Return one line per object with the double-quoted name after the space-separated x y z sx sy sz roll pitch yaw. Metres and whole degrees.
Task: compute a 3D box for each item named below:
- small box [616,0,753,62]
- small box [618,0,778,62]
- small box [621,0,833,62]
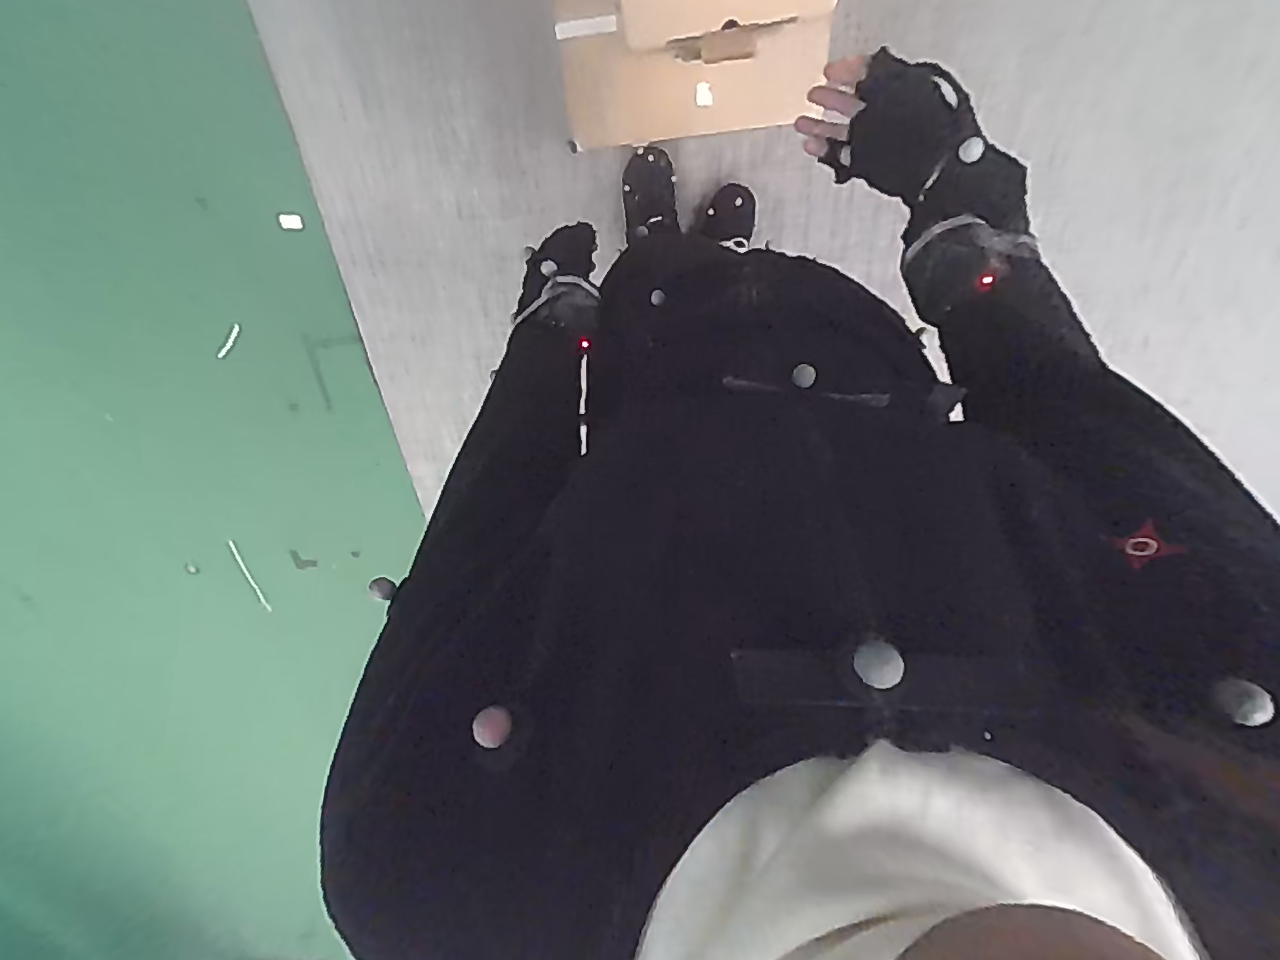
0.057 -0.655 0.705 0.179 0.176 0.168 1 125 0 "small box"
0.056 -0.563 0.575 0.168 0.176 0.179 -6 126 4 "small box"
0.059 -0.468 0.442 0.168 0.176 0.179 -8 128 5 "small box"
